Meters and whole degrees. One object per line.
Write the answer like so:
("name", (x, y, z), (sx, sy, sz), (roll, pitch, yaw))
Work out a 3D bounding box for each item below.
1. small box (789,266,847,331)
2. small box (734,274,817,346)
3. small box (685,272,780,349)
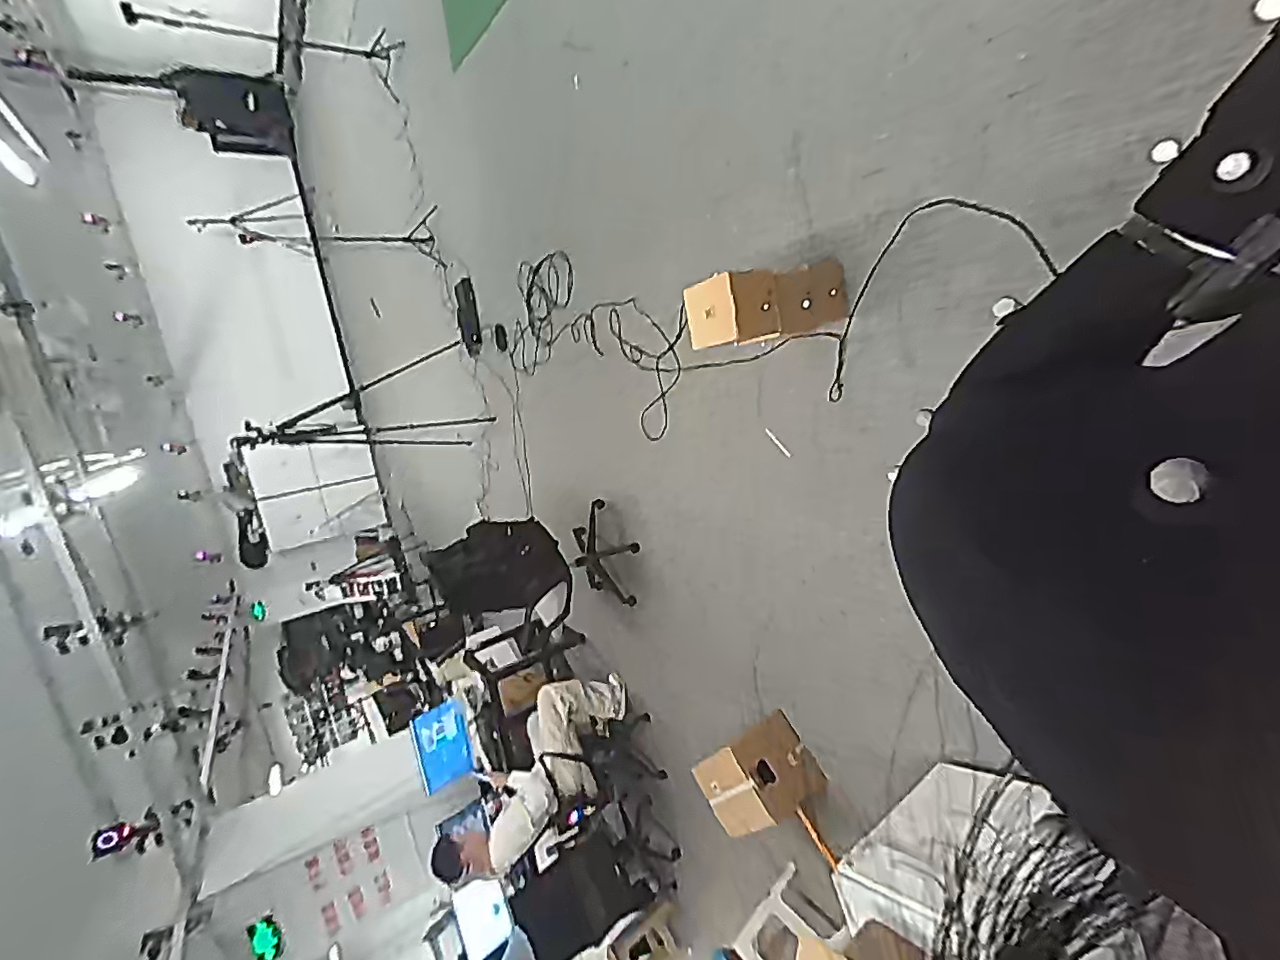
("small box", (0.505, -0.540, 1.638), (0.179, 0.176, 0.168), (-3, 100, 57))
("small box", (0.378, -0.485, 1.549), (0.179, 0.176, 0.168), (3, 106, 55))
("small box", (0.249, -0.453, 1.455), (0.179, 0.176, 0.168), (1, 104, 55))
